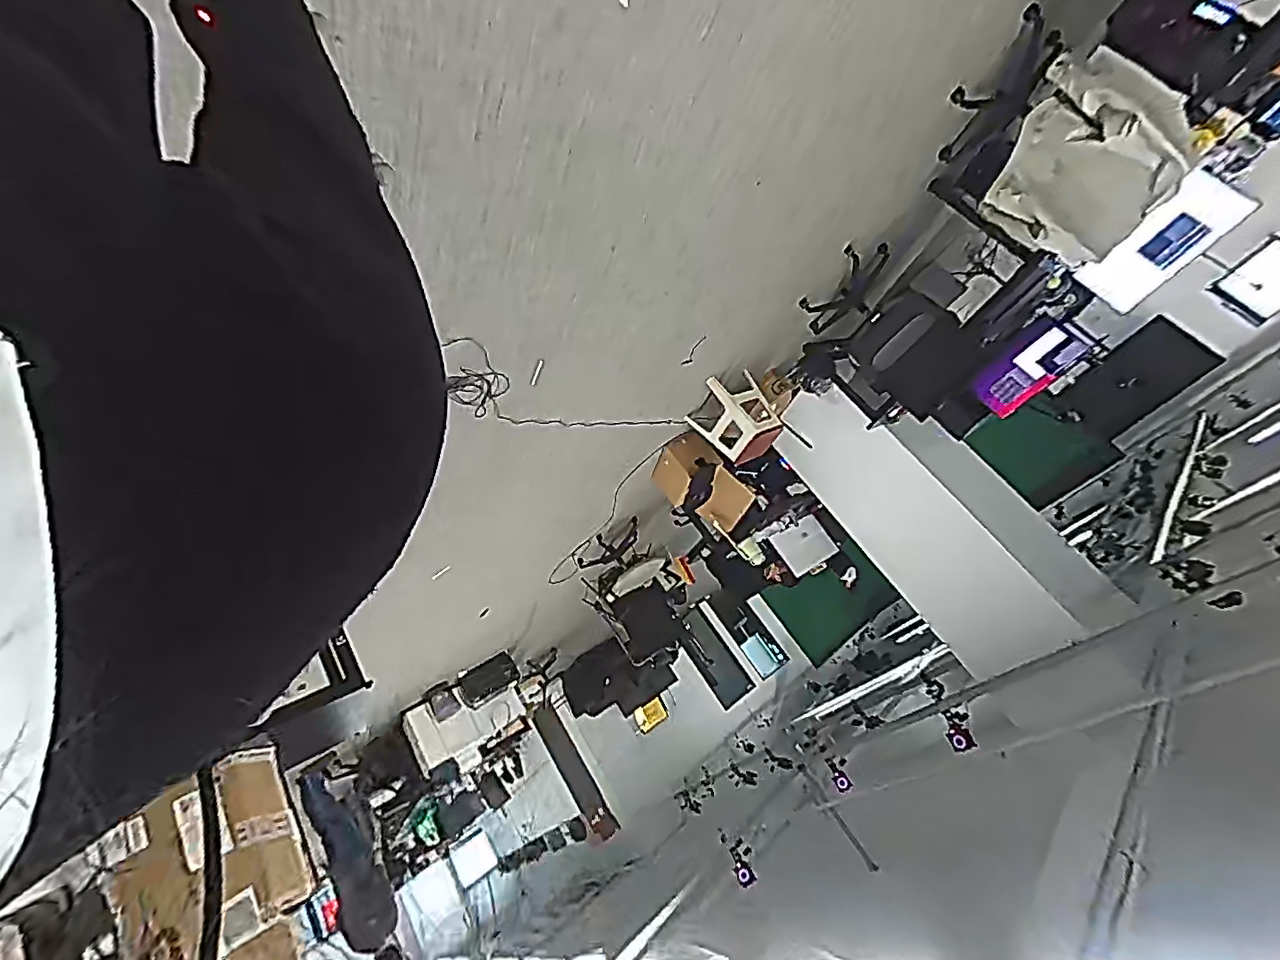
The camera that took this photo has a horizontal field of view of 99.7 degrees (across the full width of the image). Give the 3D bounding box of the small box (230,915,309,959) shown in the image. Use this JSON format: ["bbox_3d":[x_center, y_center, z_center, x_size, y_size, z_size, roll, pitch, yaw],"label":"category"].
[{"bbox_3d":[-1.152,1.505,1.694,0.168,0.176,0.179,-19,156,-34],"label":"small box"}]
